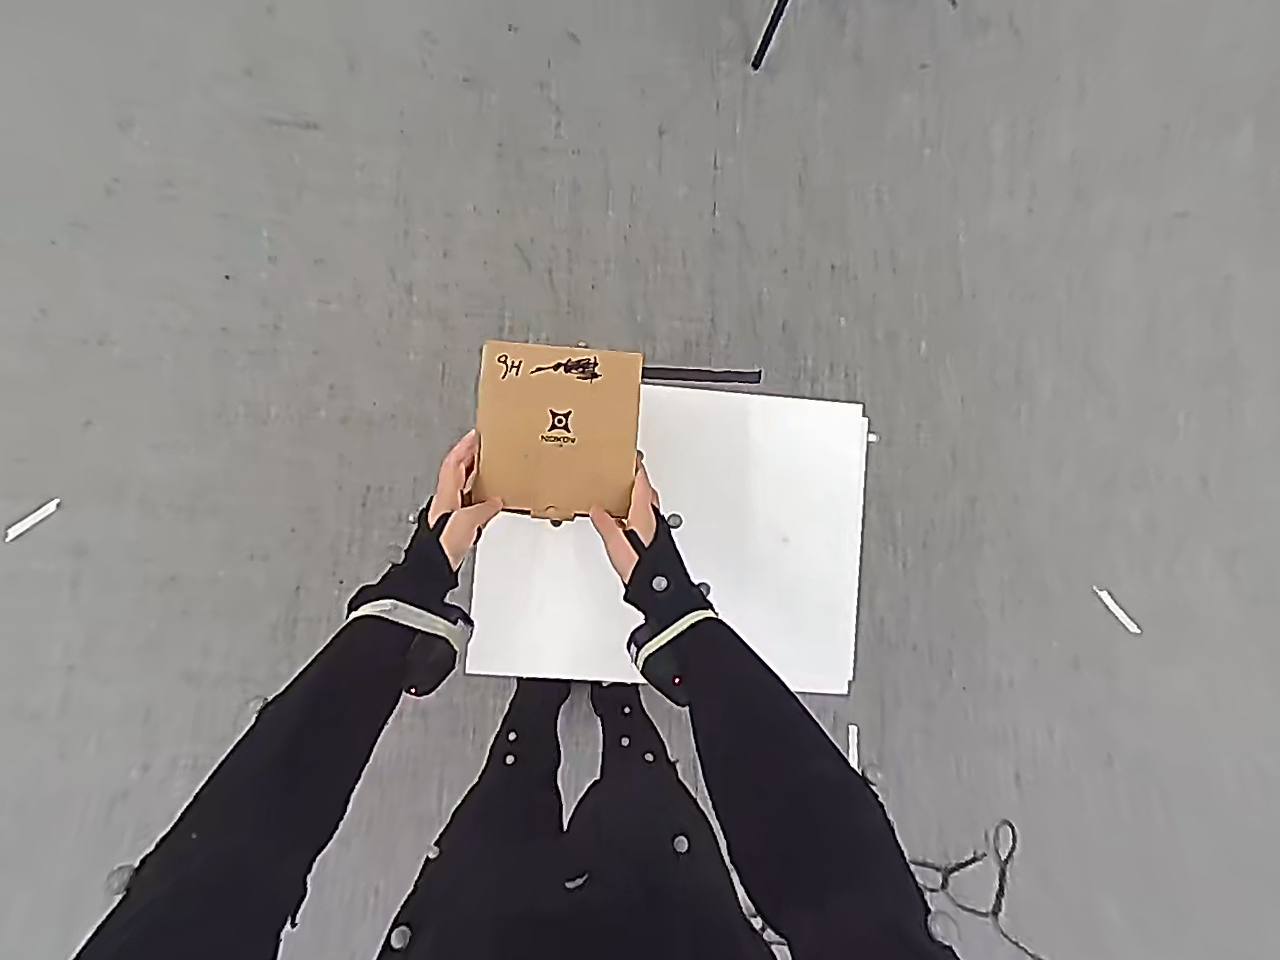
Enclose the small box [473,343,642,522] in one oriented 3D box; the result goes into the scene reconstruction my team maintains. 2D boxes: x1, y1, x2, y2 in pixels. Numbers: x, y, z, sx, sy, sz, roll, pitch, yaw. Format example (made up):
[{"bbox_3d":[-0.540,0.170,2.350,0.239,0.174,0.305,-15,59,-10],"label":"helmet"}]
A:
[{"bbox_3d":[-0.090,-0.048,0.637,0.168,0.176,0.179,4,89,-5],"label":"small box"}]
